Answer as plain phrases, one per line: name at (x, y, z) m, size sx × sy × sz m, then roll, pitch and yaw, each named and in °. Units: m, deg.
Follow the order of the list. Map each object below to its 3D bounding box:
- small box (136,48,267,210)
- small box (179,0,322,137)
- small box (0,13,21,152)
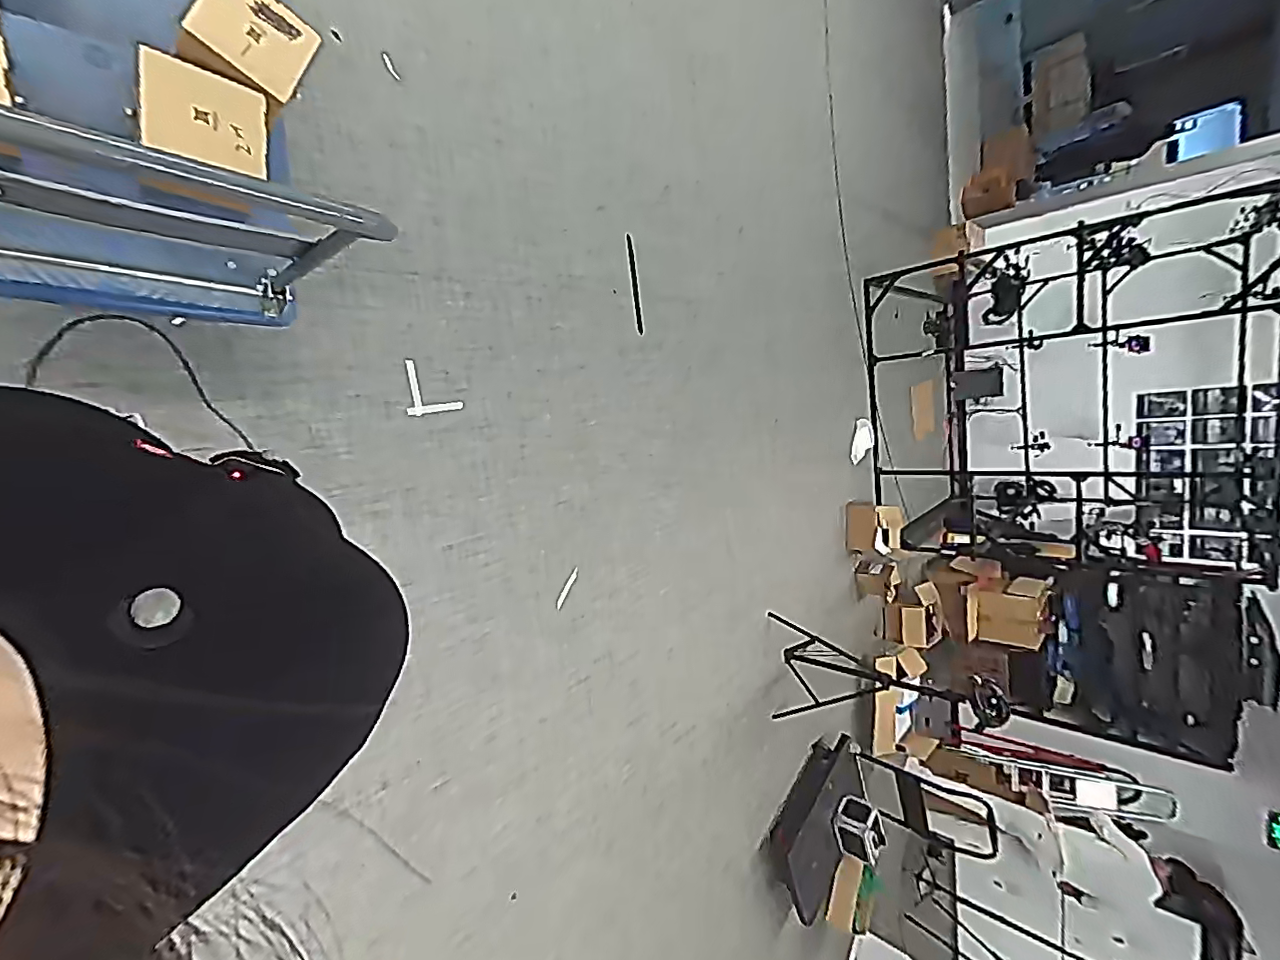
small box at (-0.810, -0.627, 0.998) m, size 0.179 × 0.176 × 0.168 m, roll -1°, pitch 92°, yaw -45°
small box at (-0.758, -0.819, 1.047) m, size 0.168 × 0.176 × 0.179 m, roll 29°, pitch 71°, yaw -42°
small box at (-1.033, -0.605, 0.773) m, size 0.179 × 0.176 × 0.168 m, roll -9°, pitch 97°, yaw -47°
